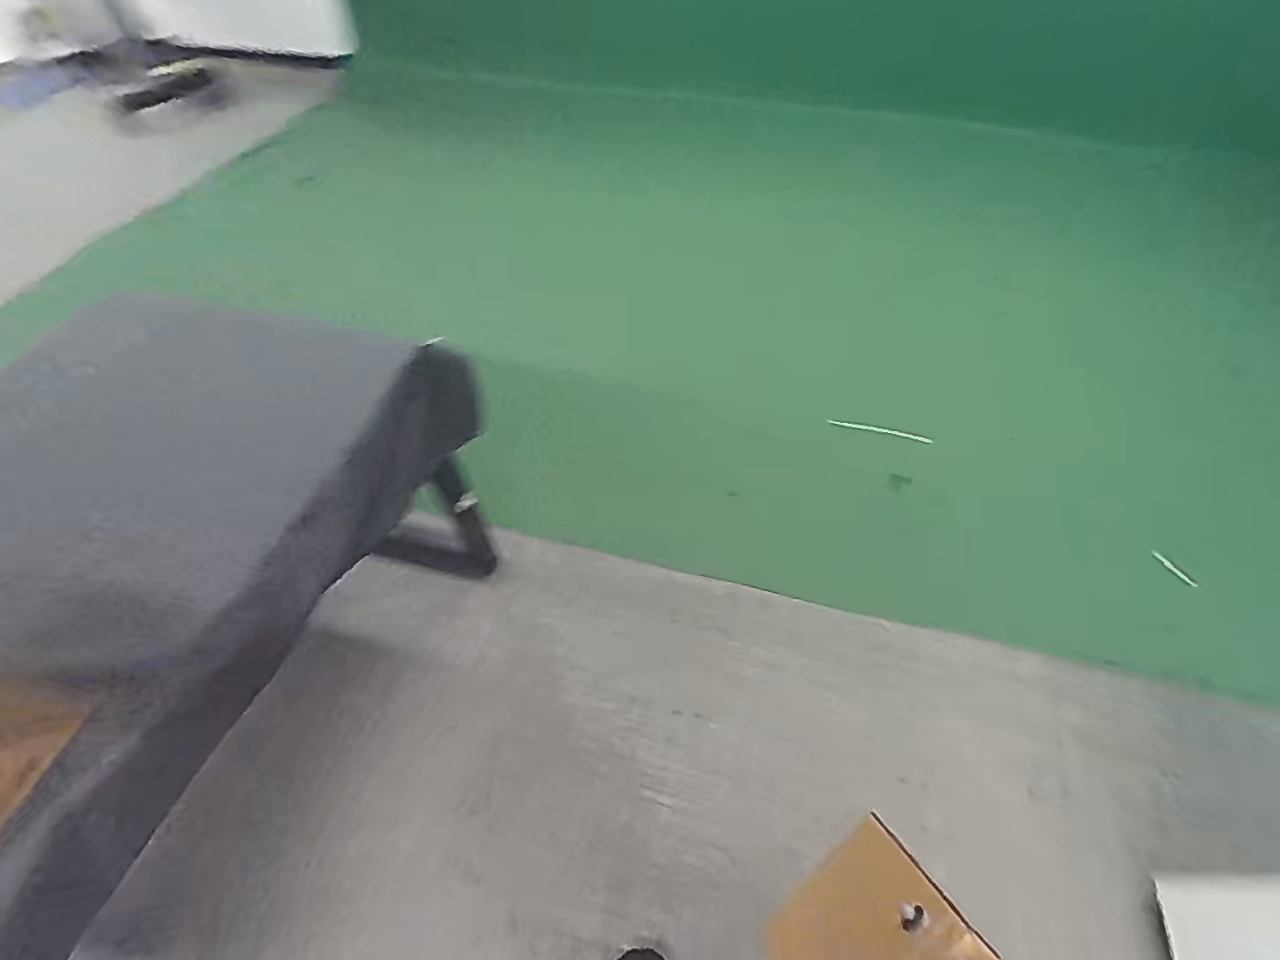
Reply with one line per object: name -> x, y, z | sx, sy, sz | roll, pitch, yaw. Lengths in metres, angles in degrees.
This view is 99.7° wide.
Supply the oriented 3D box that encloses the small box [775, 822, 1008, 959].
small box -> 0.243, 0.460, 0.467 | 0.176, 0.179, 0.168 | -41, 87, -3
